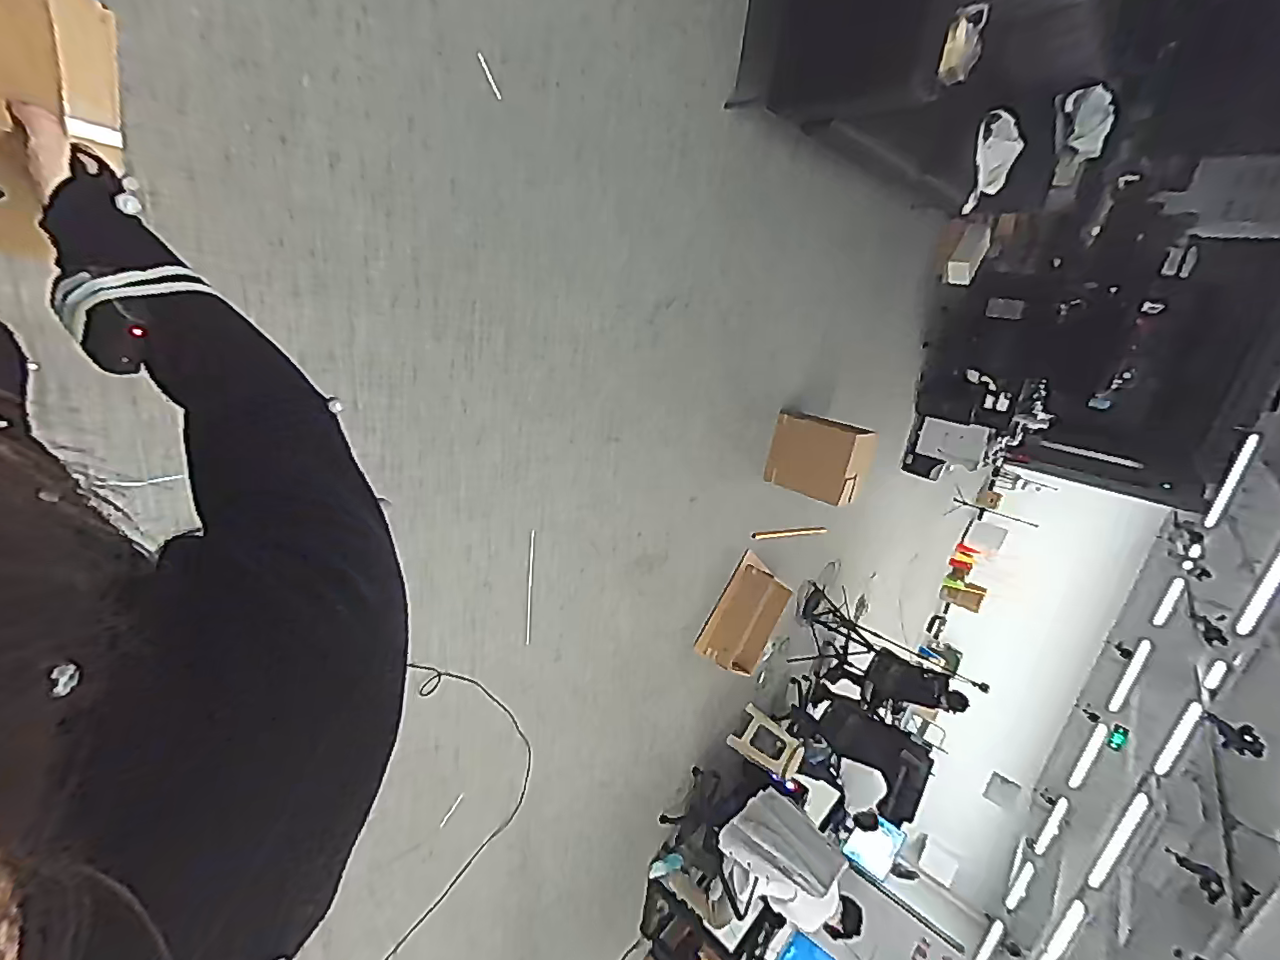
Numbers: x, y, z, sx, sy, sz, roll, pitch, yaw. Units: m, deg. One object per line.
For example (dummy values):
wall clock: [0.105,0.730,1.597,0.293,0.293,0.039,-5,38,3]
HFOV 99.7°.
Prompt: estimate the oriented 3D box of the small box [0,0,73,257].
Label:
small box: [-0.599,-0.311,0.435,0.179,0.176,0.168,-3,72,-52]
